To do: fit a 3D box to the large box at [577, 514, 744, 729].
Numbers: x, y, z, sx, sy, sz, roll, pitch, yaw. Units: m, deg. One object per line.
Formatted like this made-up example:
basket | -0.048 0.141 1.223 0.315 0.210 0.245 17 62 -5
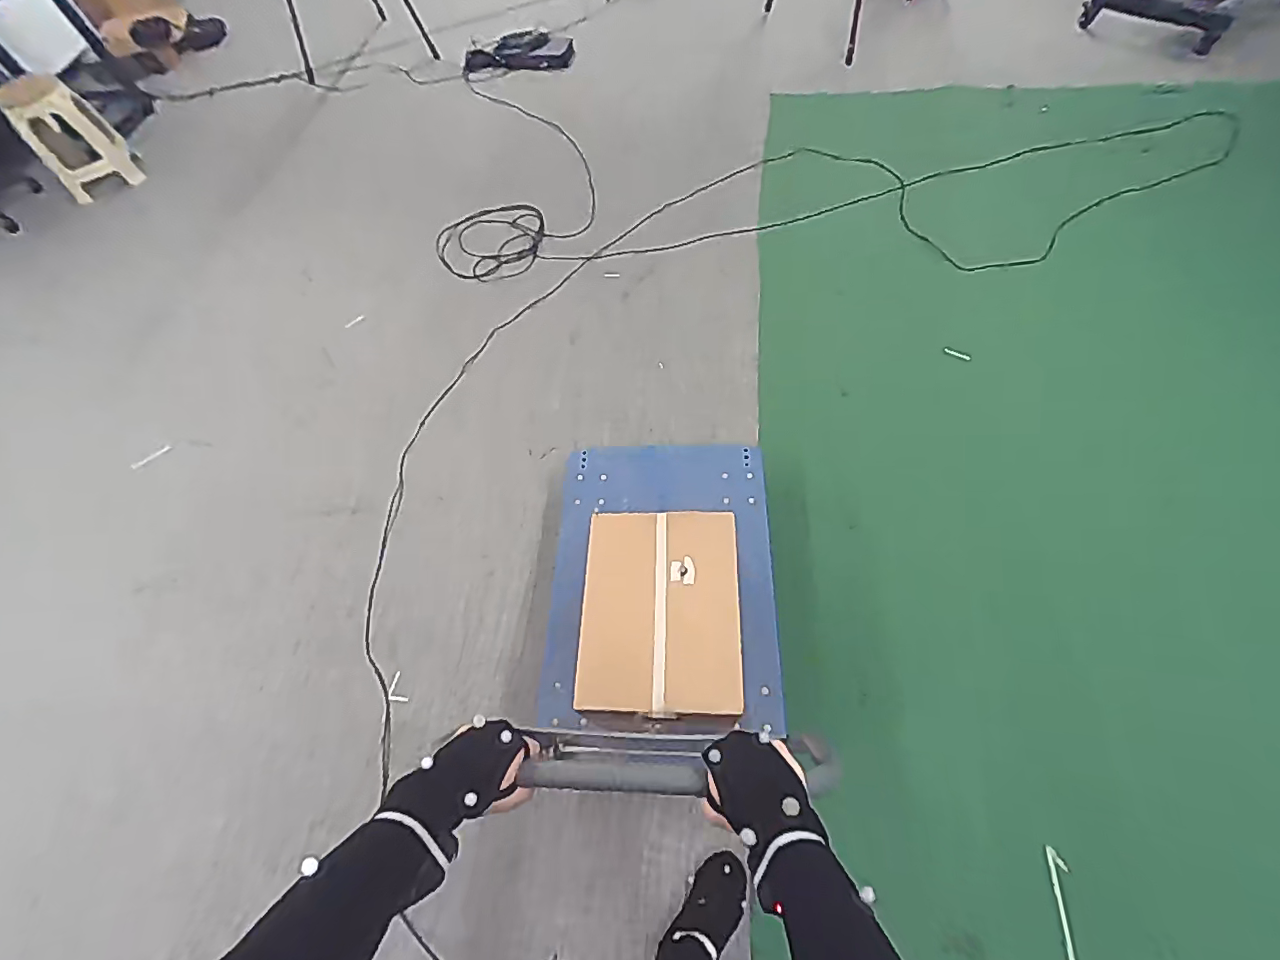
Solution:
large box | 0.054 0.325 1.211 0.320 0.320 0.408 0 59 5
